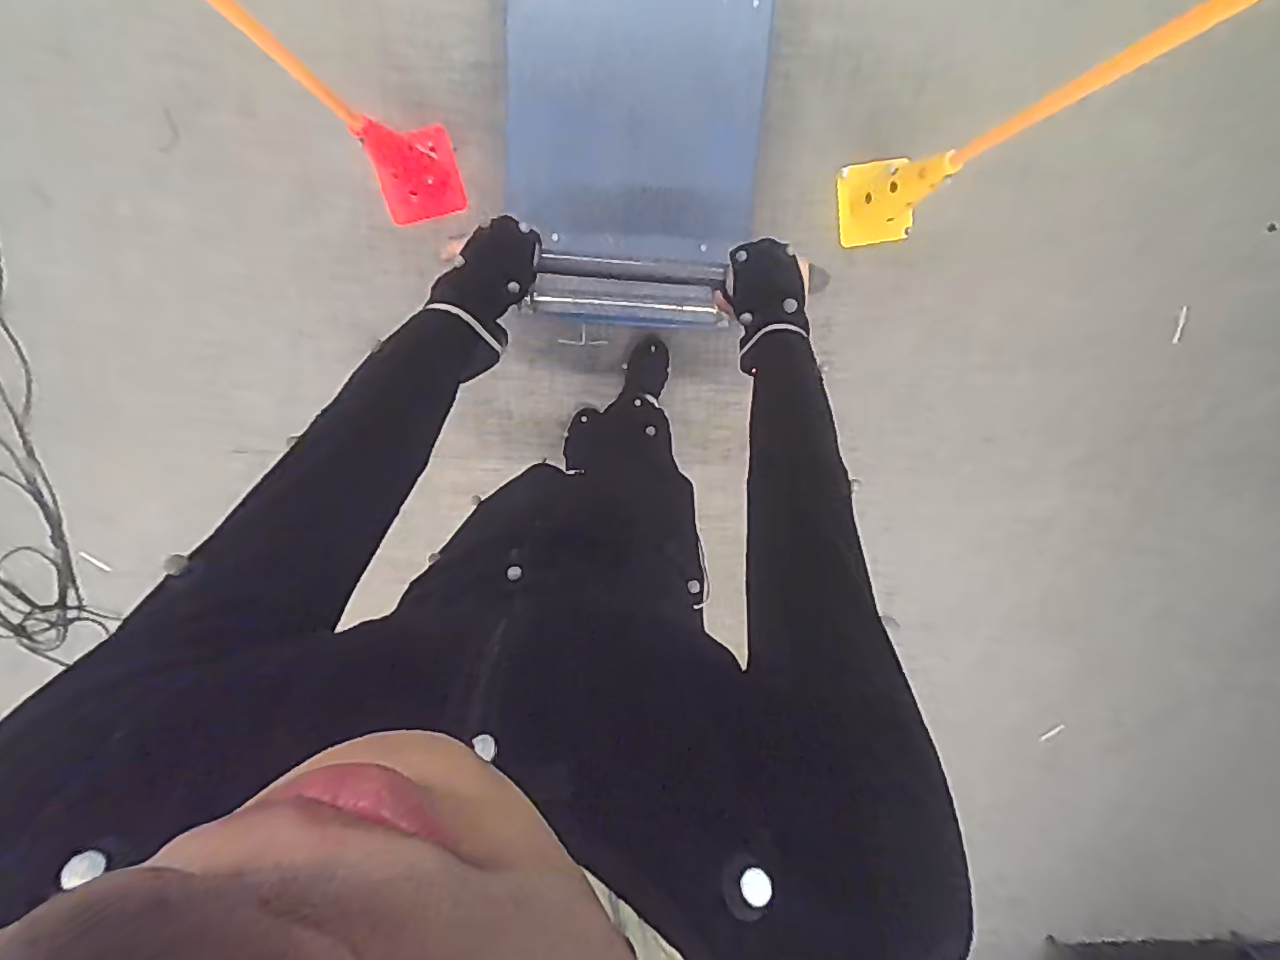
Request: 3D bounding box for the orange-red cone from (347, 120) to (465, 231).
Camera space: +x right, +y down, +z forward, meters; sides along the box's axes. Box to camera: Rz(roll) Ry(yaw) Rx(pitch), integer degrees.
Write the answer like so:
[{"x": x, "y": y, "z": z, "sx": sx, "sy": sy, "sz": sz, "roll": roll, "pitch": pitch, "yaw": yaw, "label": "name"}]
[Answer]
[{"x": -0.548, "y": -0.703, "z": 1.195, "sx": 0.199, "sy": 0.360, "sz": 0.198, "roll": -12, "pitch": 104, "yaw": 1, "label": "orange-red cone"}]
